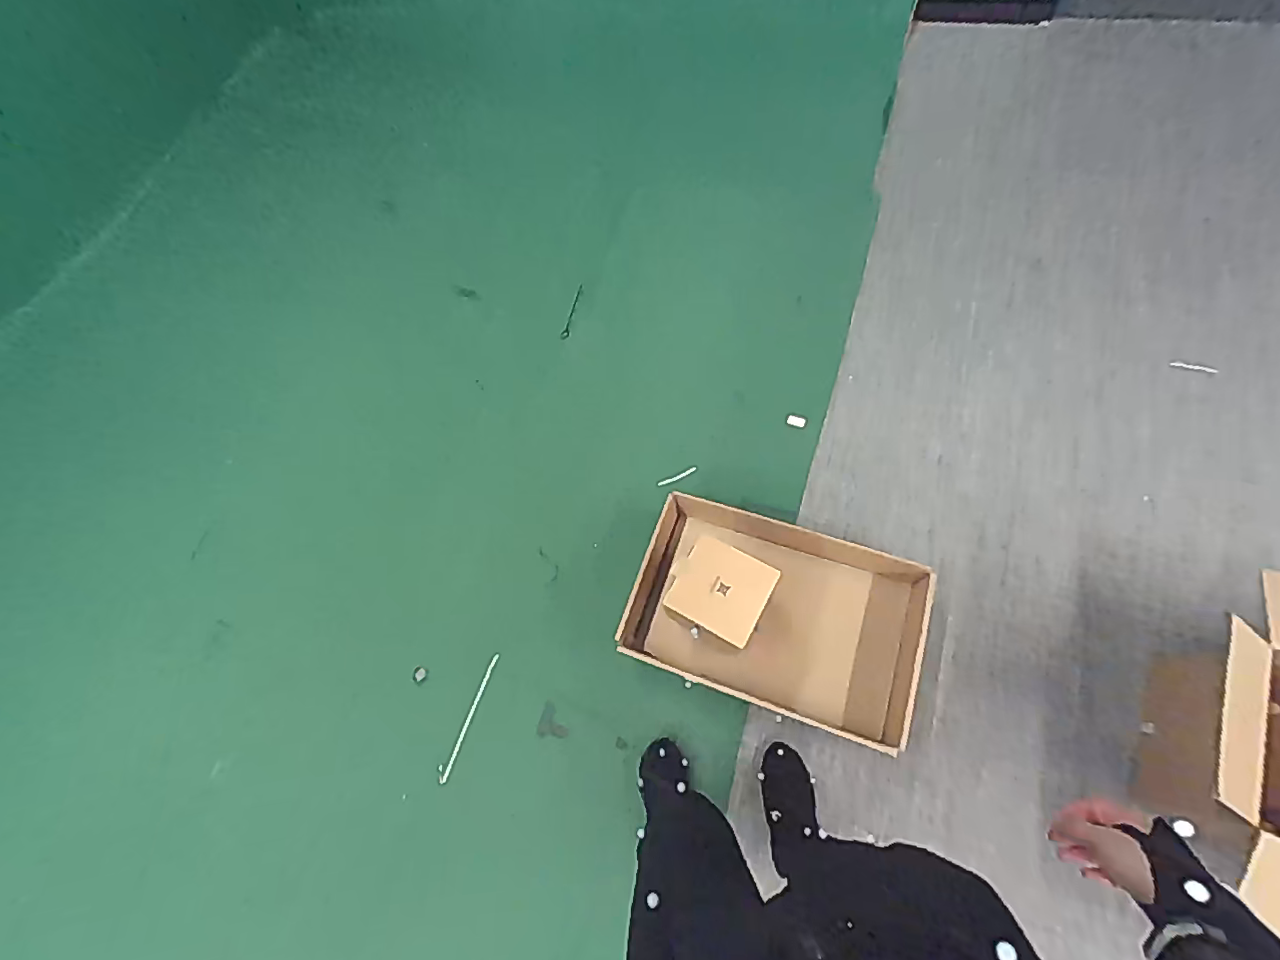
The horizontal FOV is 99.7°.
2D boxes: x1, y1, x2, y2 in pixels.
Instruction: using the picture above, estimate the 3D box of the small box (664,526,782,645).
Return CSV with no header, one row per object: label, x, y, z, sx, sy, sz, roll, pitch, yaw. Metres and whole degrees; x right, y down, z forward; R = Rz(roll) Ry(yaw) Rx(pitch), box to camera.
small box,0.168,0.223,1.105,0.179,0.176,0.168,27,73,17
